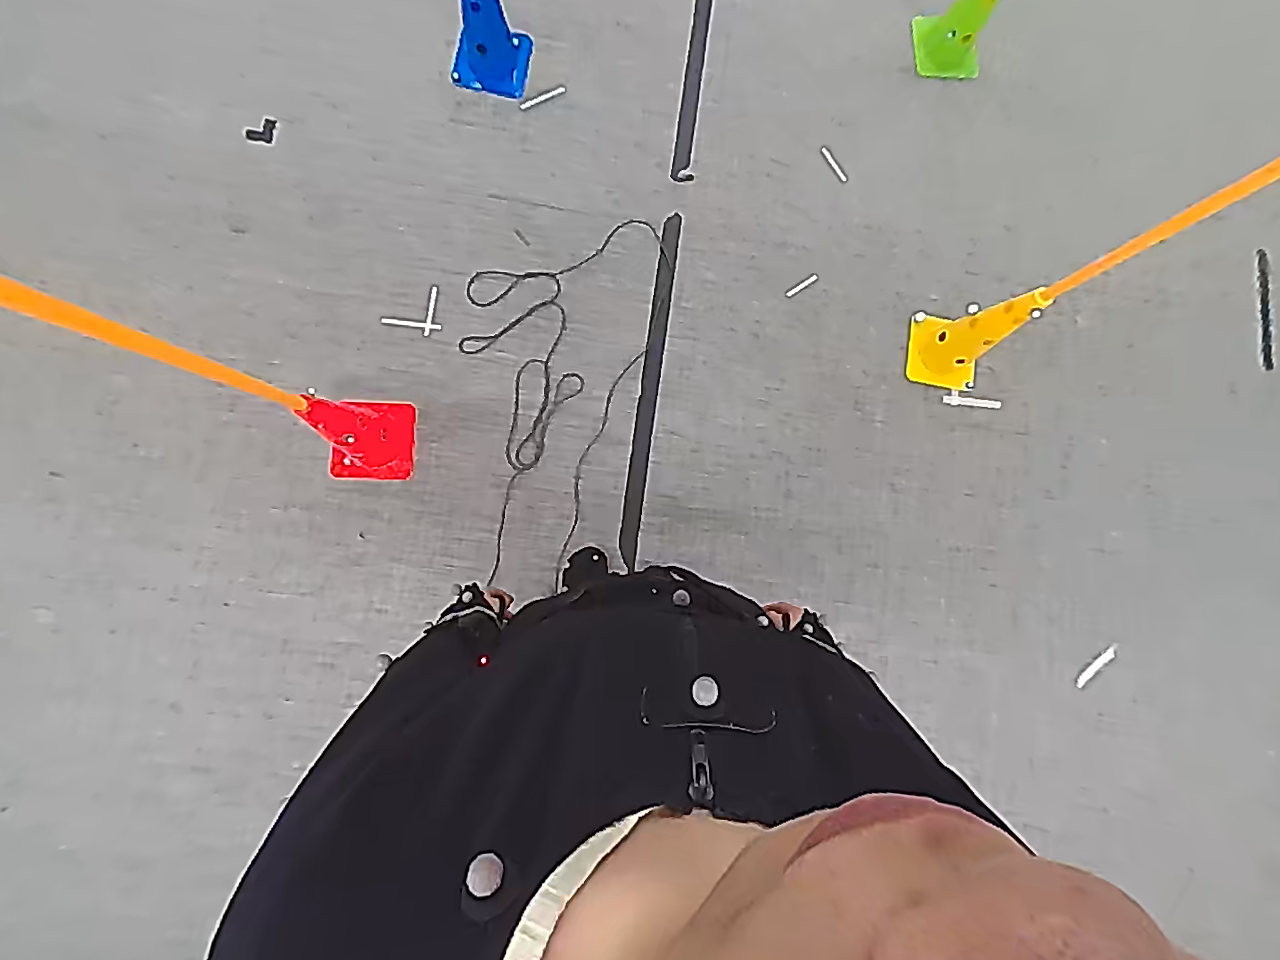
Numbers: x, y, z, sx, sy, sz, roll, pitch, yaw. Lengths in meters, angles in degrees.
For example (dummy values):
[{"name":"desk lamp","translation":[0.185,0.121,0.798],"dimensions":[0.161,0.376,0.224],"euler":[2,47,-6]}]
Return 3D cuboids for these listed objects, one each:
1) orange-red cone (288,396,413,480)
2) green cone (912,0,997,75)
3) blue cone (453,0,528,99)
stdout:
[{"name":"orange-red cone","translation":[-0.656,-0.121,1.185],"dimensions":[0.199,0.360,0.198],"euler":[3,83,-6]},{"name":"green cone","translation":[0.946,-1.350,1.482],"dimensions":[0.200,0.368,0.202],"euler":[-3,85,-5]},{"name":"blue cone","translation":[-0.404,-1.189,1.355],"dimensions":[0.193,0.380,0.192],"euler":[11,83,-3]}]
